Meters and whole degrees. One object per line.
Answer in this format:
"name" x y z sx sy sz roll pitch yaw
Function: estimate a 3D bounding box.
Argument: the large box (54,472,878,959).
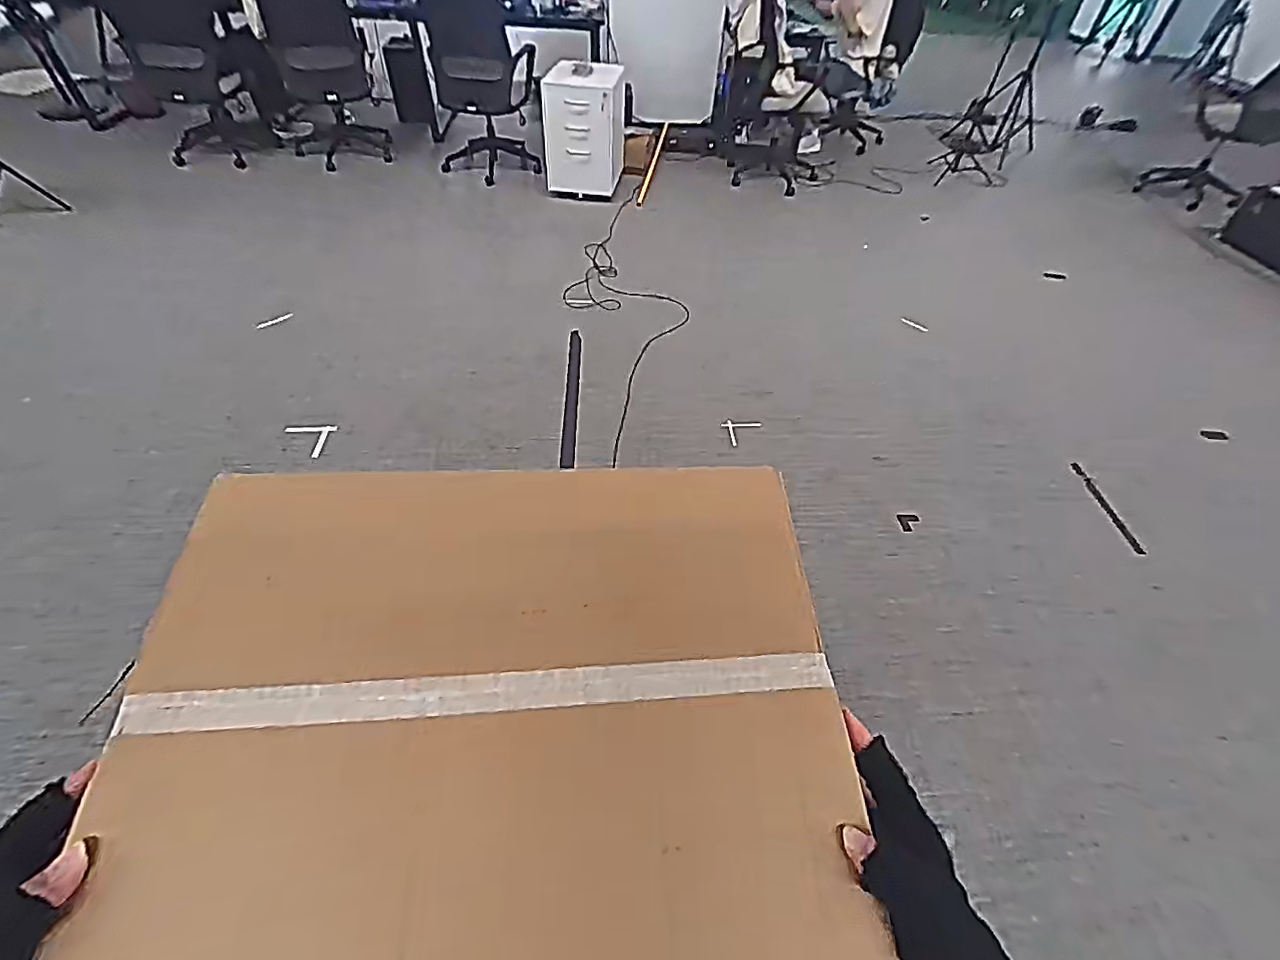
"large box" -0.096 0.208 0.455 0.408 0.320 0.320 -1 57 -6
